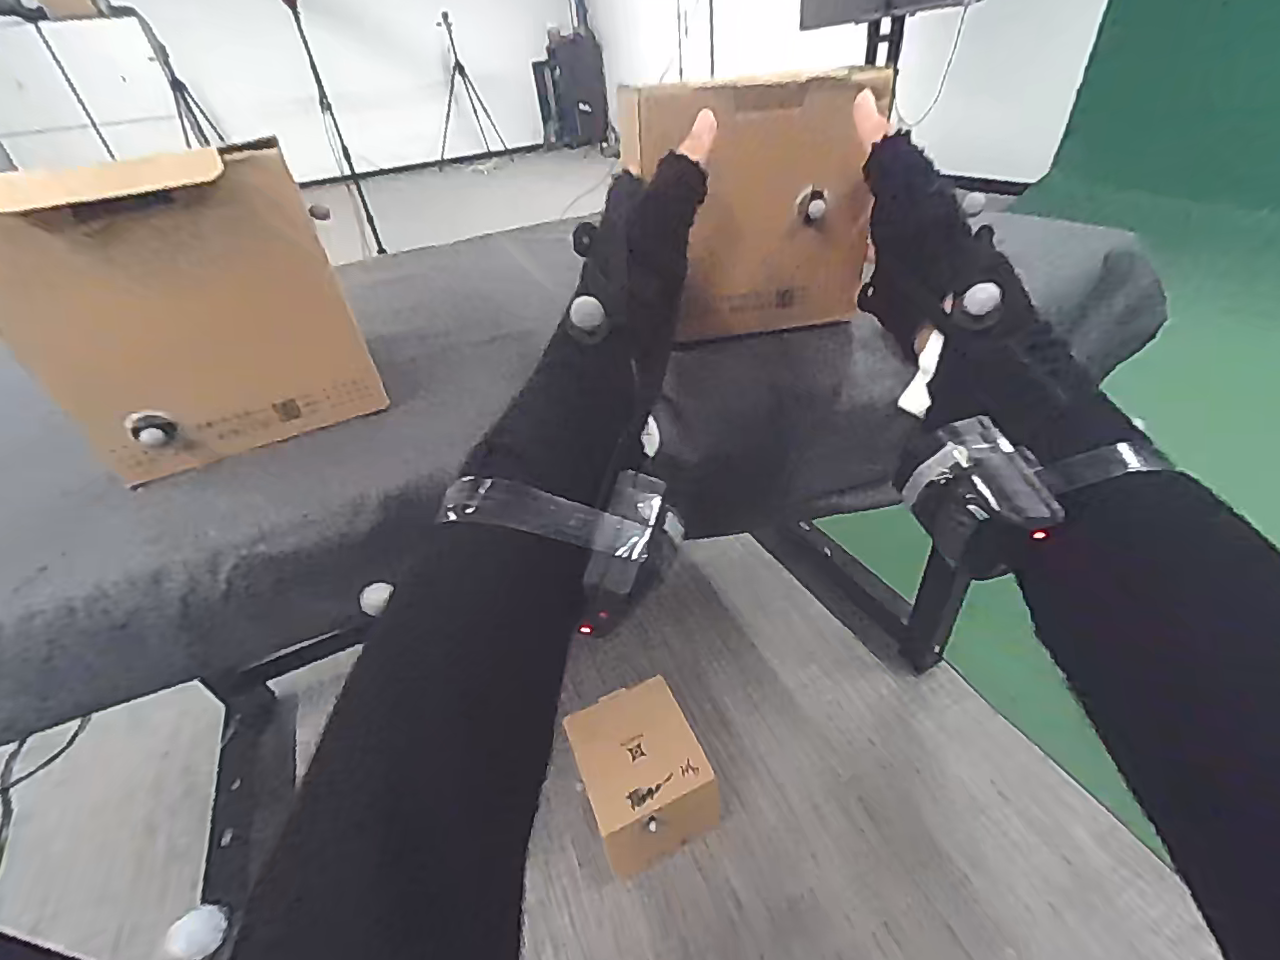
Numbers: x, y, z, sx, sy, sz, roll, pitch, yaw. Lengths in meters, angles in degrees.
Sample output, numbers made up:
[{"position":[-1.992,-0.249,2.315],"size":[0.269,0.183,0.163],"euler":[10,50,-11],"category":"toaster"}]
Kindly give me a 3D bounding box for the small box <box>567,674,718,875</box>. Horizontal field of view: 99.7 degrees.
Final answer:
[{"position":[0.004,0.437,0.810],"size":[0.168,0.176,0.179],"euler":[-20,37,-15],"category":"small box"}]

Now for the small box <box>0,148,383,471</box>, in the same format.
[{"position":[-0.305,-0.125,0.389],"size":[0.168,0.176,0.179],"euler":[-23,38,-20],"category":"small box"}]

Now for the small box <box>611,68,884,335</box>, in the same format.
[{"position":[0.071,-0.226,0.447],"size":[0.168,0.176,0.179],"euler":[-7,36,-4],"category":"small box"}]
